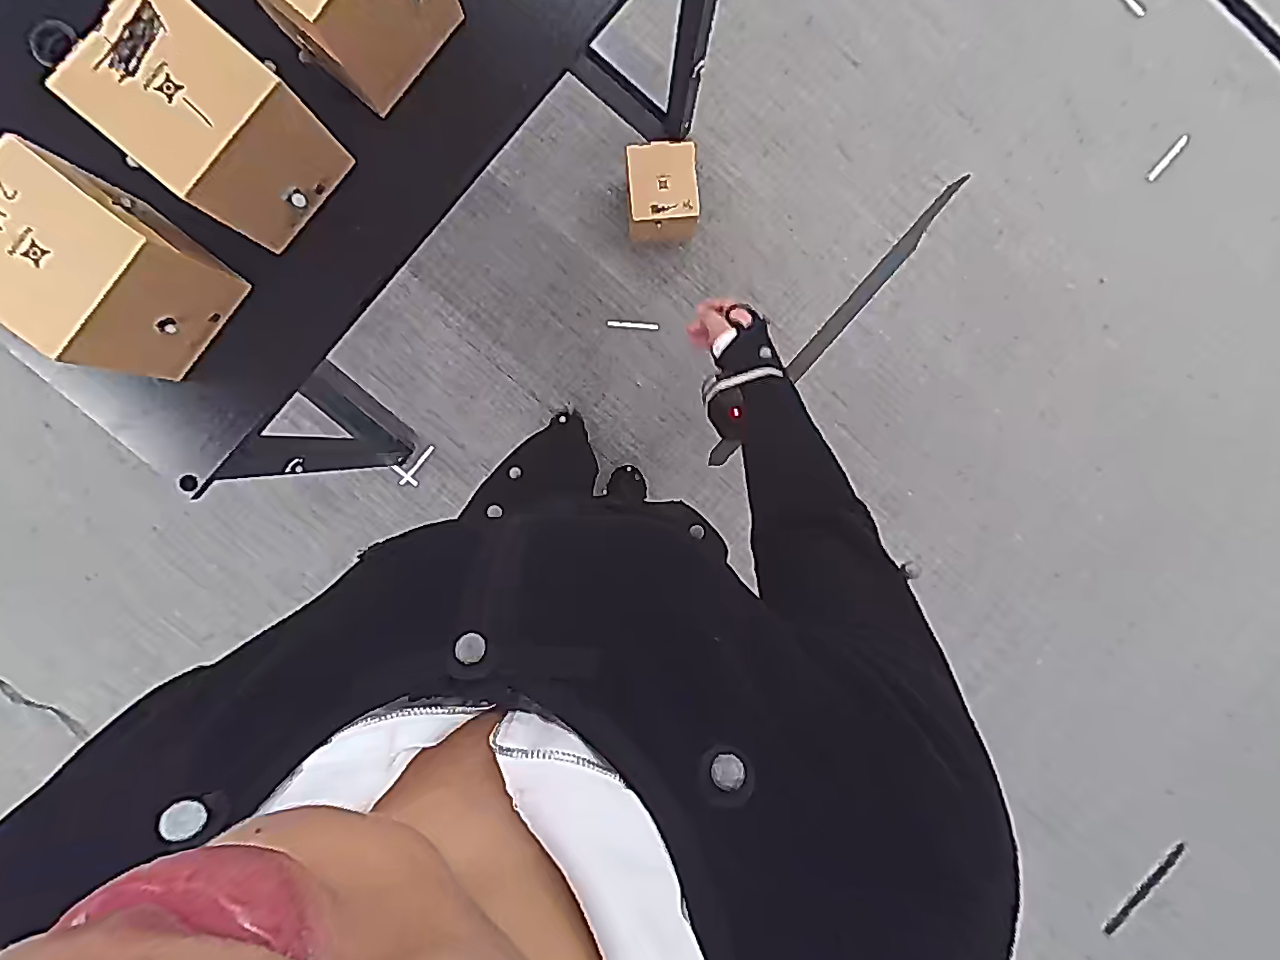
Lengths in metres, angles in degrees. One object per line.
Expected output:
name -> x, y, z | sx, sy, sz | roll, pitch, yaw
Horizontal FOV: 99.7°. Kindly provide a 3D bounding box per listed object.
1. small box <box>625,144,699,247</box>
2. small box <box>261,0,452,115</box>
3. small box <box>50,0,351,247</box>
small box -> 0.050, -0.715, 1.372 | 0.168, 0.176, 0.179 | -6, 94, -2
small box -> -0.347, -0.594, 0.636 | 0.168, 0.176, 0.179 | 40, 92, -3
small box -> -0.494, -0.414, 0.640 | 0.179, 0.176, 0.168 | 41, 92, -4
